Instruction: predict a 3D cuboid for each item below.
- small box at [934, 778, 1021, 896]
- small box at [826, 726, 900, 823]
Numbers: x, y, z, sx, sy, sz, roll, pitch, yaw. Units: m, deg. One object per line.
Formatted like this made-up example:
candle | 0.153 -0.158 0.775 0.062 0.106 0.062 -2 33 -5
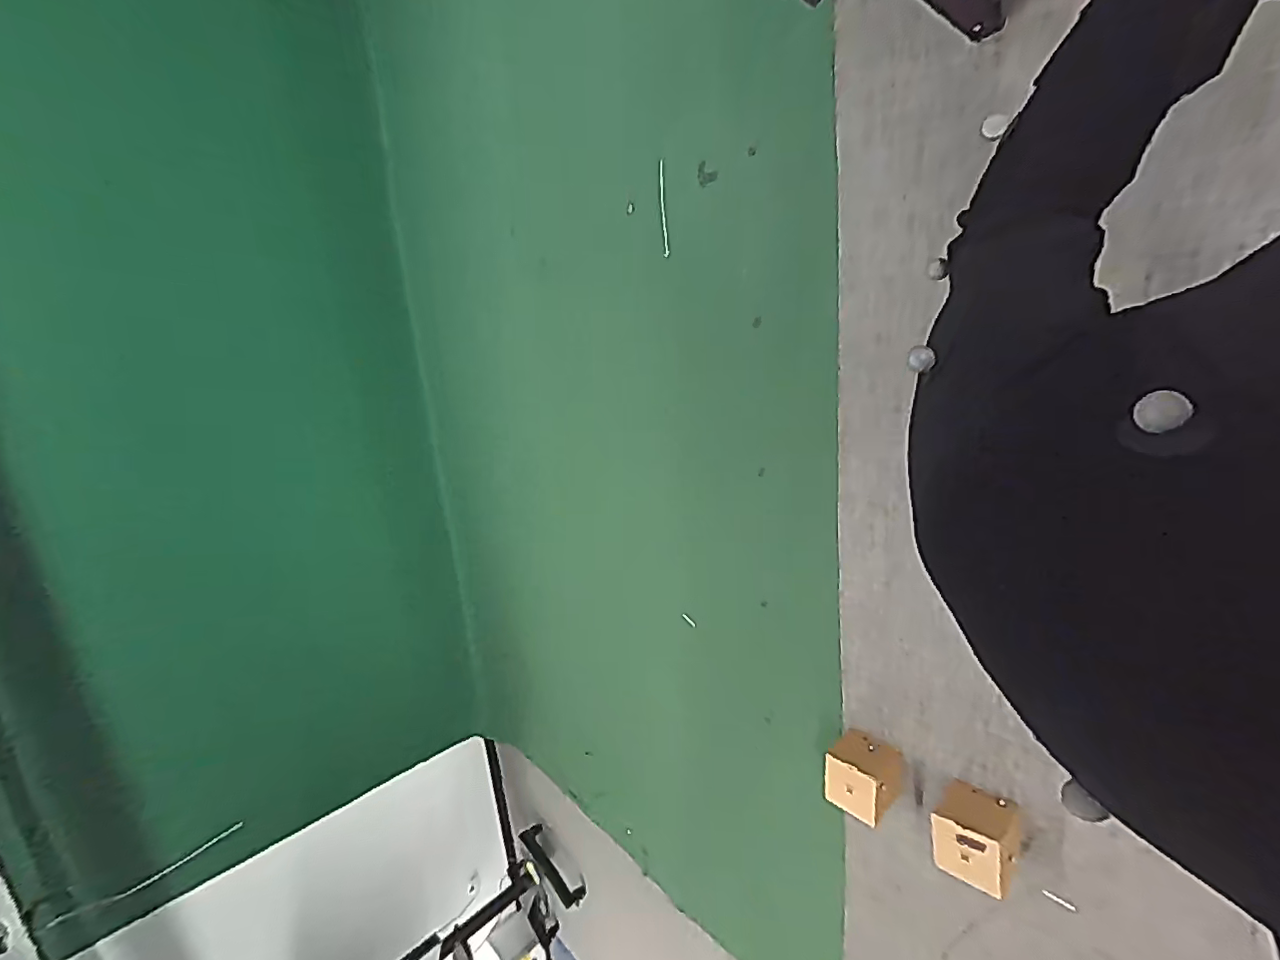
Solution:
small box | 0.926 0.965 1.484 0.168 0.176 0.179 3 105 49
small box | 0.710 0.930 1.722 0.168 0.176 0.179 10 109 46
